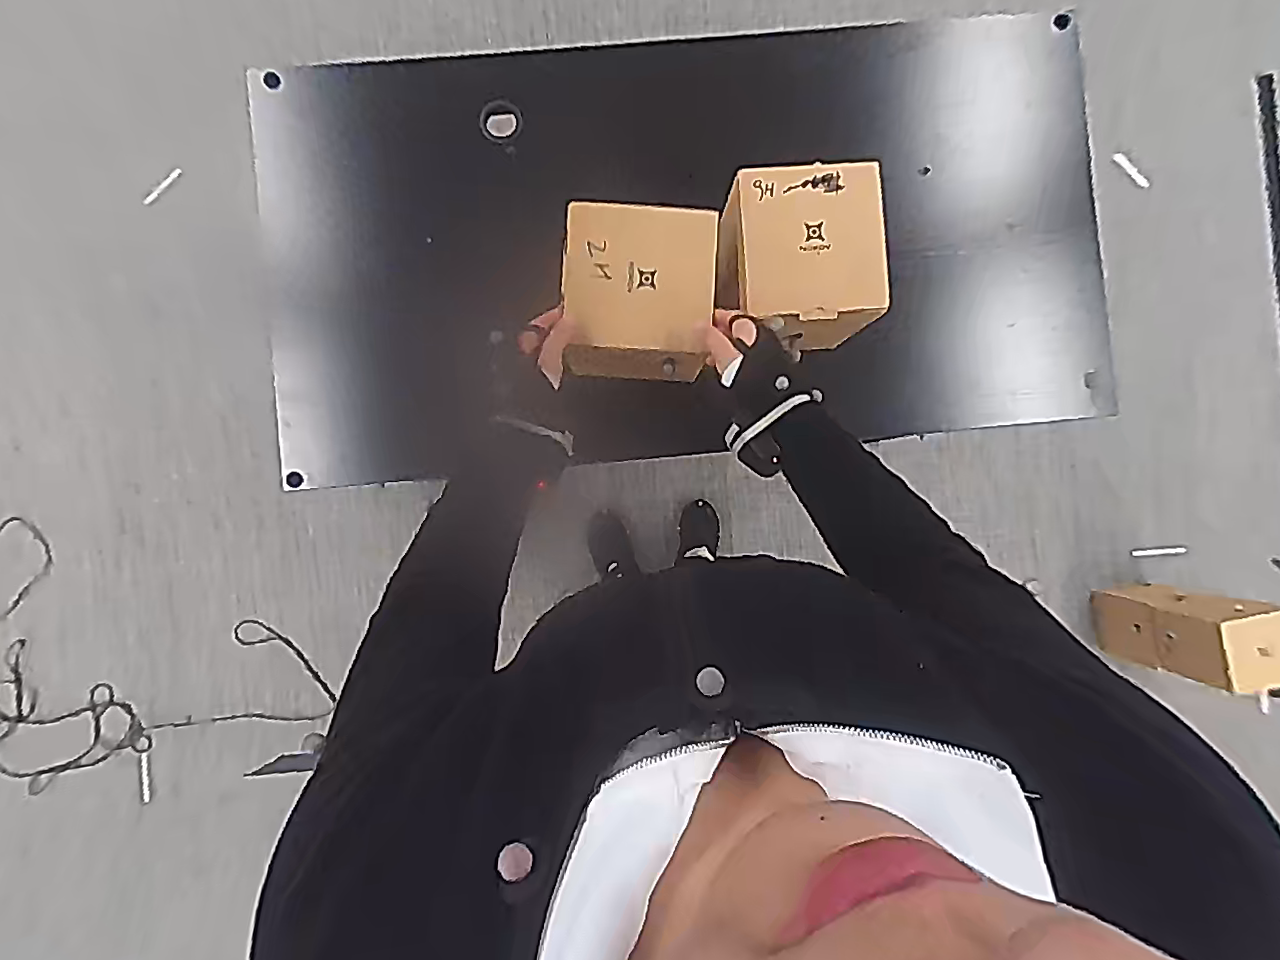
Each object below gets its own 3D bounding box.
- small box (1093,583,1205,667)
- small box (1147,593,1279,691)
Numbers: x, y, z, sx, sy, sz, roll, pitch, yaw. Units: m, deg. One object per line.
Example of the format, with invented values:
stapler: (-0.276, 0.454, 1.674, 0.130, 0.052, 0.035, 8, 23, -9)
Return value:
small box: (1.365, 0.380, 1.450, 0.168, 0.176, 0.179, -8, 90, -1)
small box: (1.379, 0.377, 1.287, 0.179, 0.176, 0.168, -11, 89, 0)
